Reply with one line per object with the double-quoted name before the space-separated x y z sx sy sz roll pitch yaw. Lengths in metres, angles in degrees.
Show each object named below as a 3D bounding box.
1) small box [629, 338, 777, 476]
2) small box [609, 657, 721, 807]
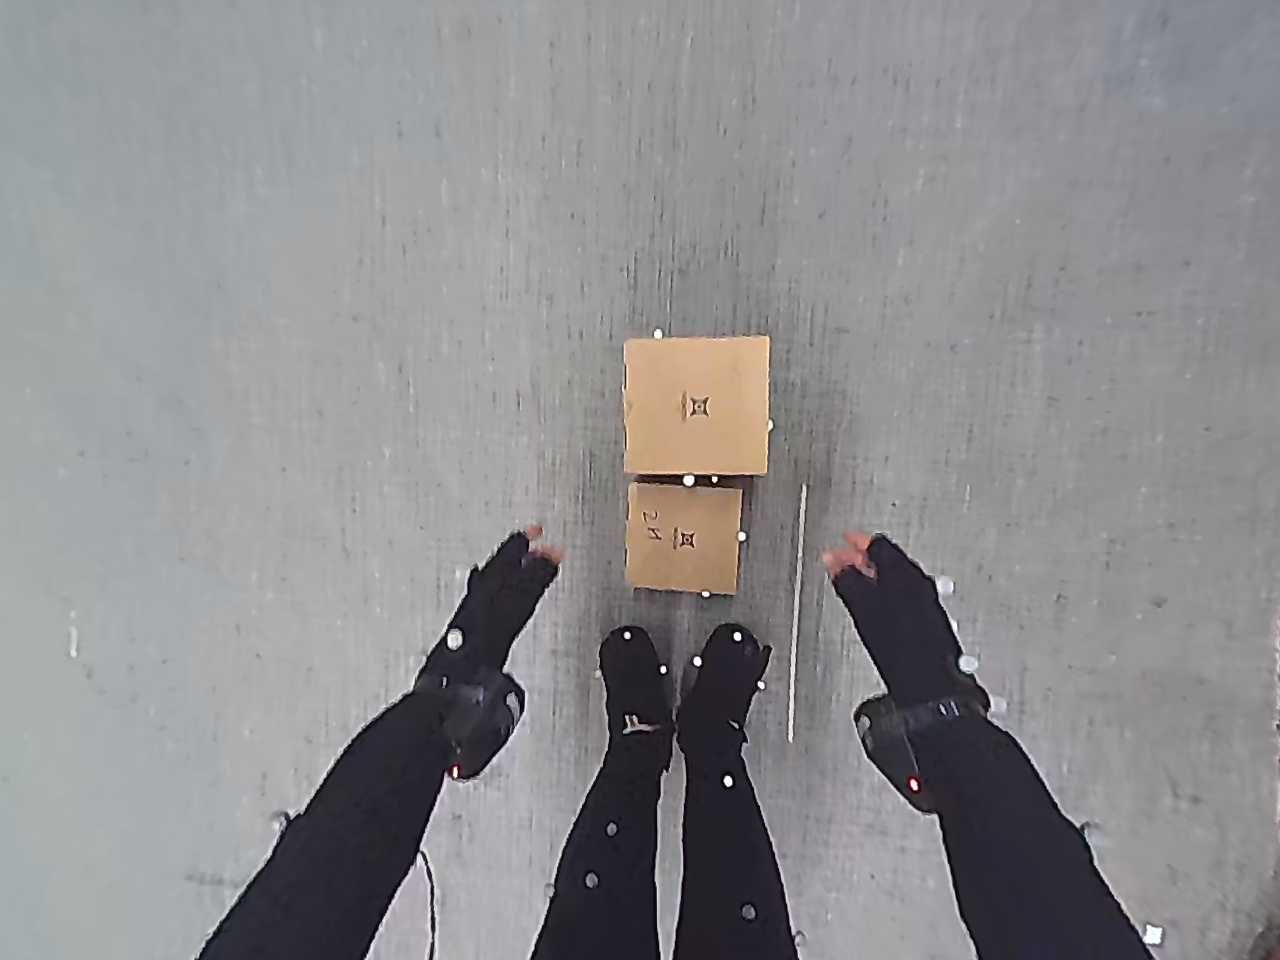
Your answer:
"small box" 0.081 -0.095 0.728 0.179 0.176 0.168 1 95 6
"small box" 0.036 0.443 0.969 0.168 0.176 0.179 7 98 -6
